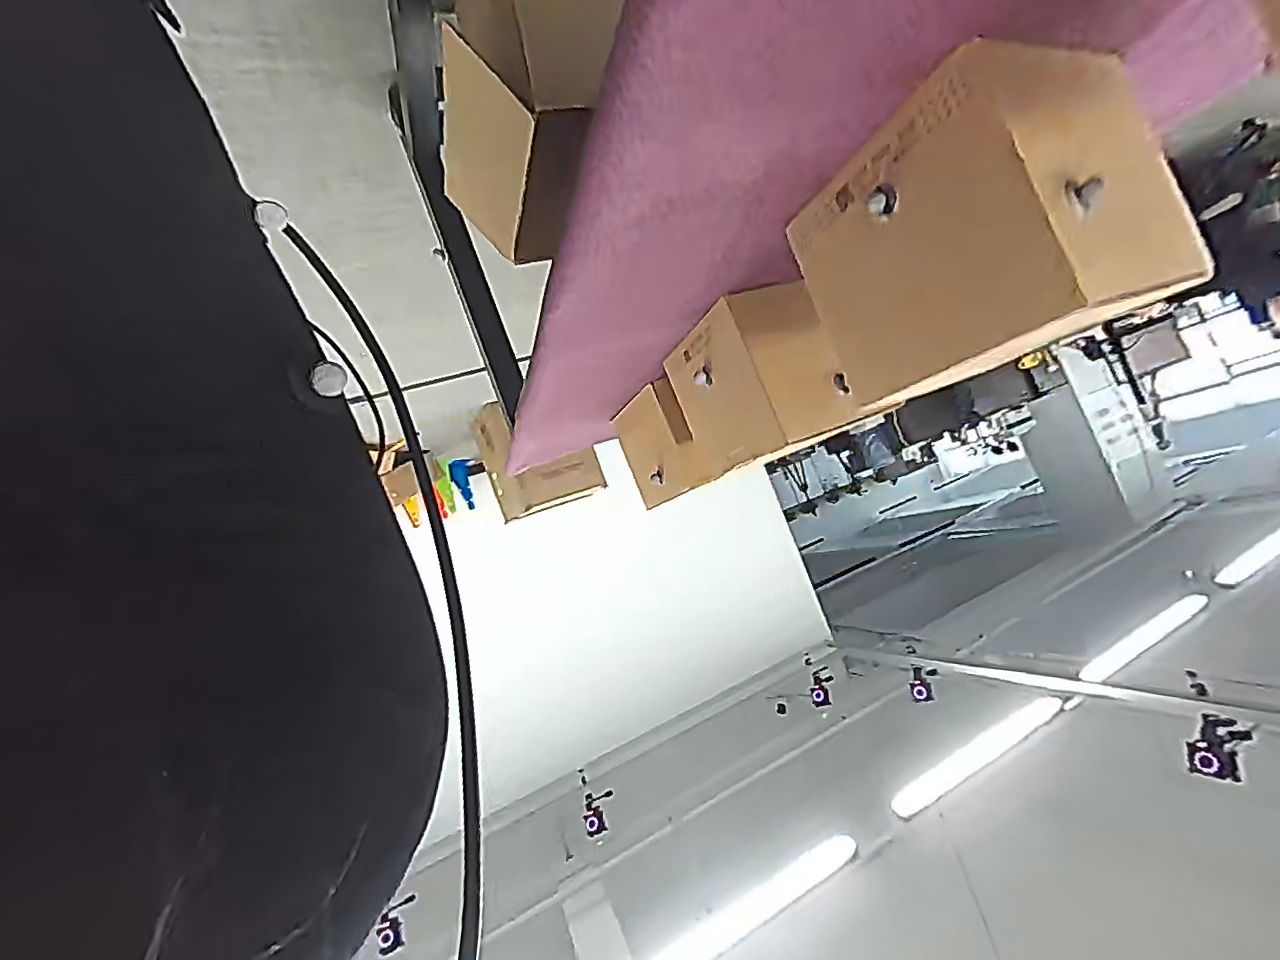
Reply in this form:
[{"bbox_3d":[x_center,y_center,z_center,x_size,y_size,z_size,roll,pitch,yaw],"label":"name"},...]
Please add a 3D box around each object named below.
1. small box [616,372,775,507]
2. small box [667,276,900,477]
[{"bbox_3d":[0.079,-0.073,0.867,0.168,0.176,0.179,-20,175,-26],"label":"small box"},{"bbox_3d":[0.161,-0.123,0.646,0.179,0.176,0.168,-19,175,-24],"label":"small box"}]
